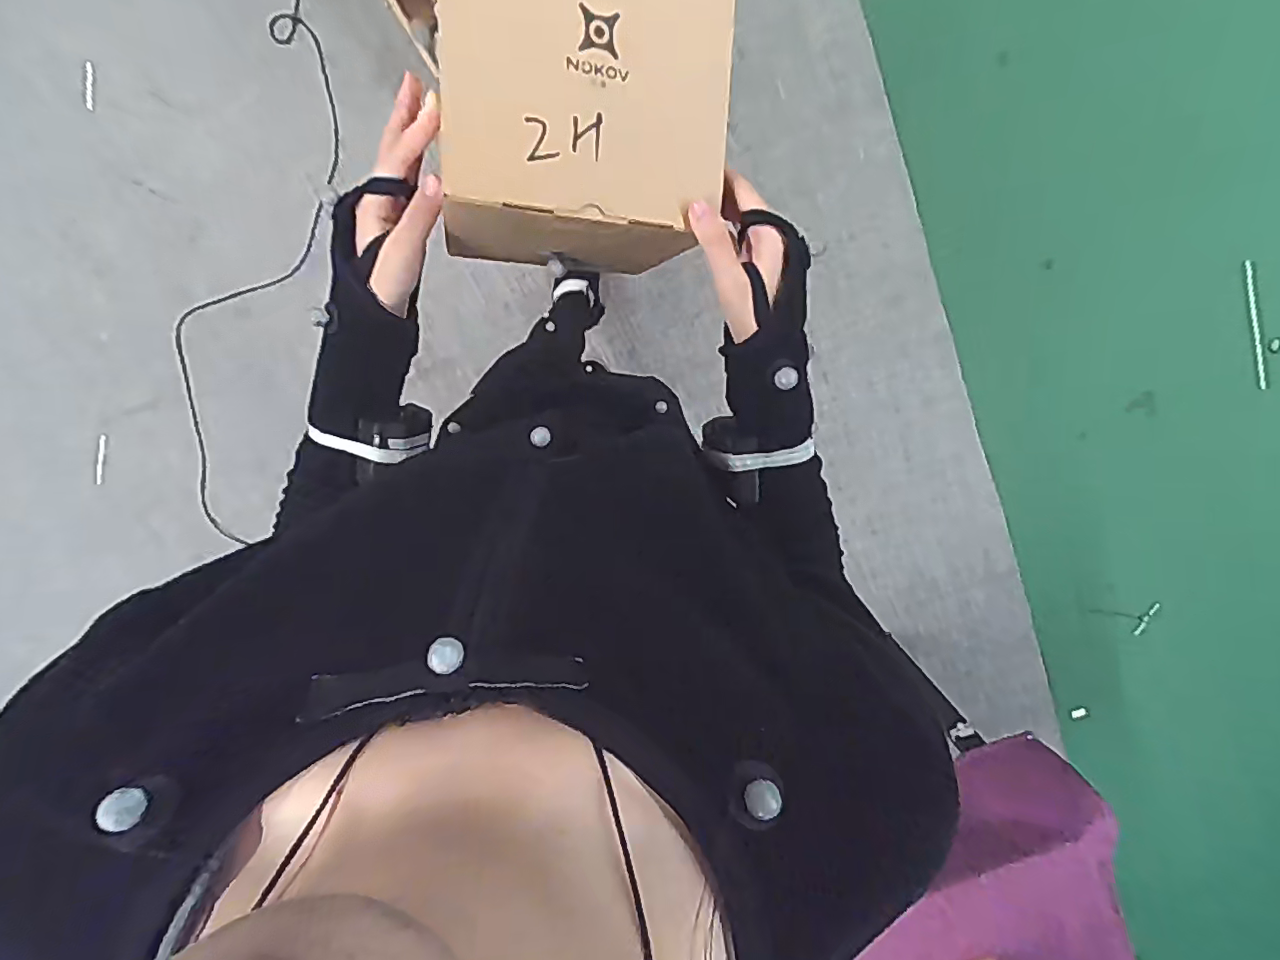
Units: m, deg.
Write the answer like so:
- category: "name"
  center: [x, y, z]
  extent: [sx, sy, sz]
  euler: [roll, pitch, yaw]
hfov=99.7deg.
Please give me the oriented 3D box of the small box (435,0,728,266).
- category: "small box"
  center: [-0.054, -0.261, 0.376]
  extent: [0.168, 0.176, 0.179]
  euler: [-1, 103, -18]
